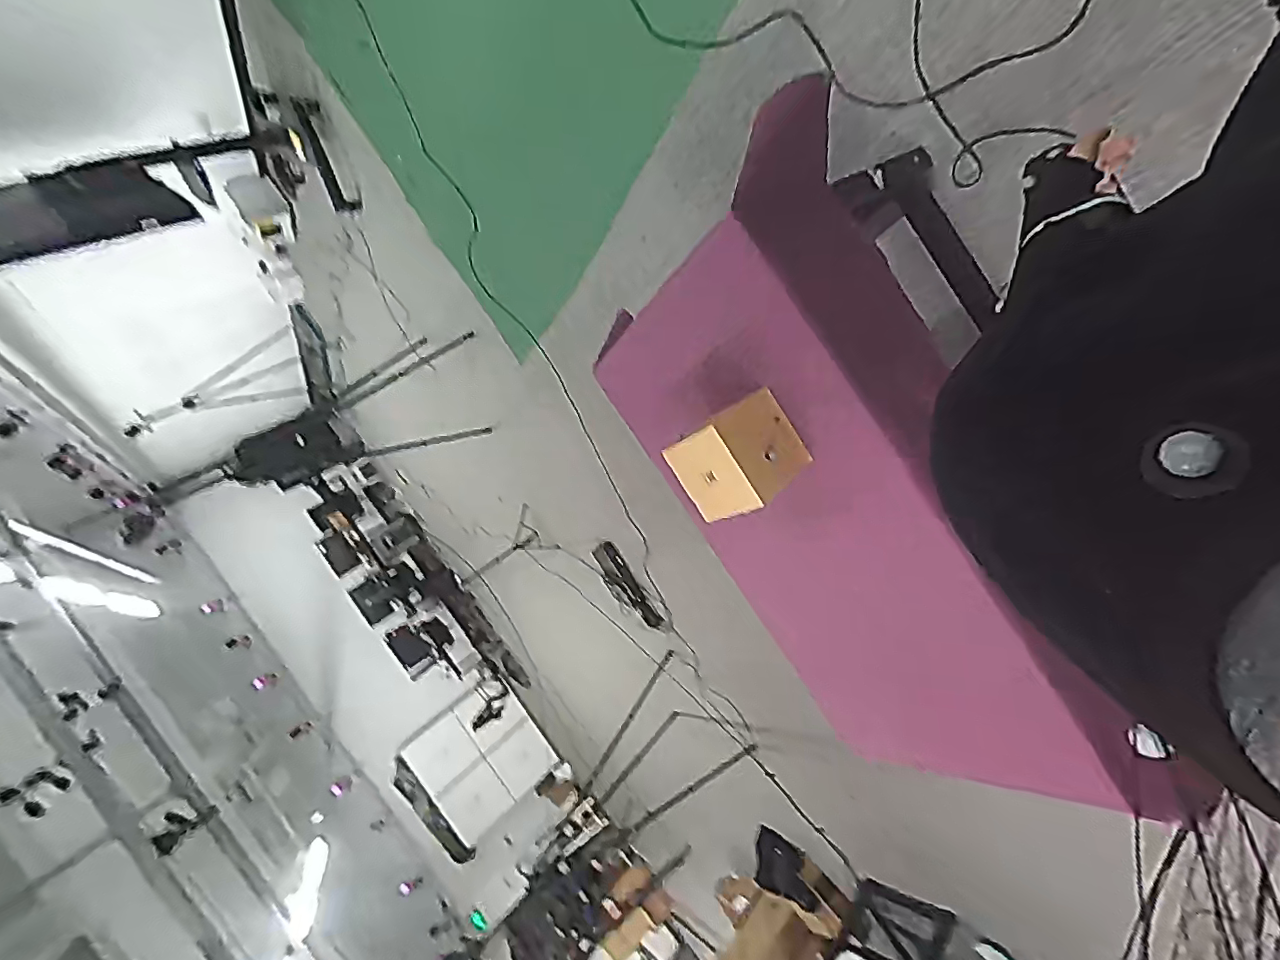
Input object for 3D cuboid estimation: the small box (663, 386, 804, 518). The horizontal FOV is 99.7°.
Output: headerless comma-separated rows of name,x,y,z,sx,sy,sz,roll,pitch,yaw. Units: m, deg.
small box,0.183,-0.052,1.025,0.168,0.176,0.179,56,149,-4
